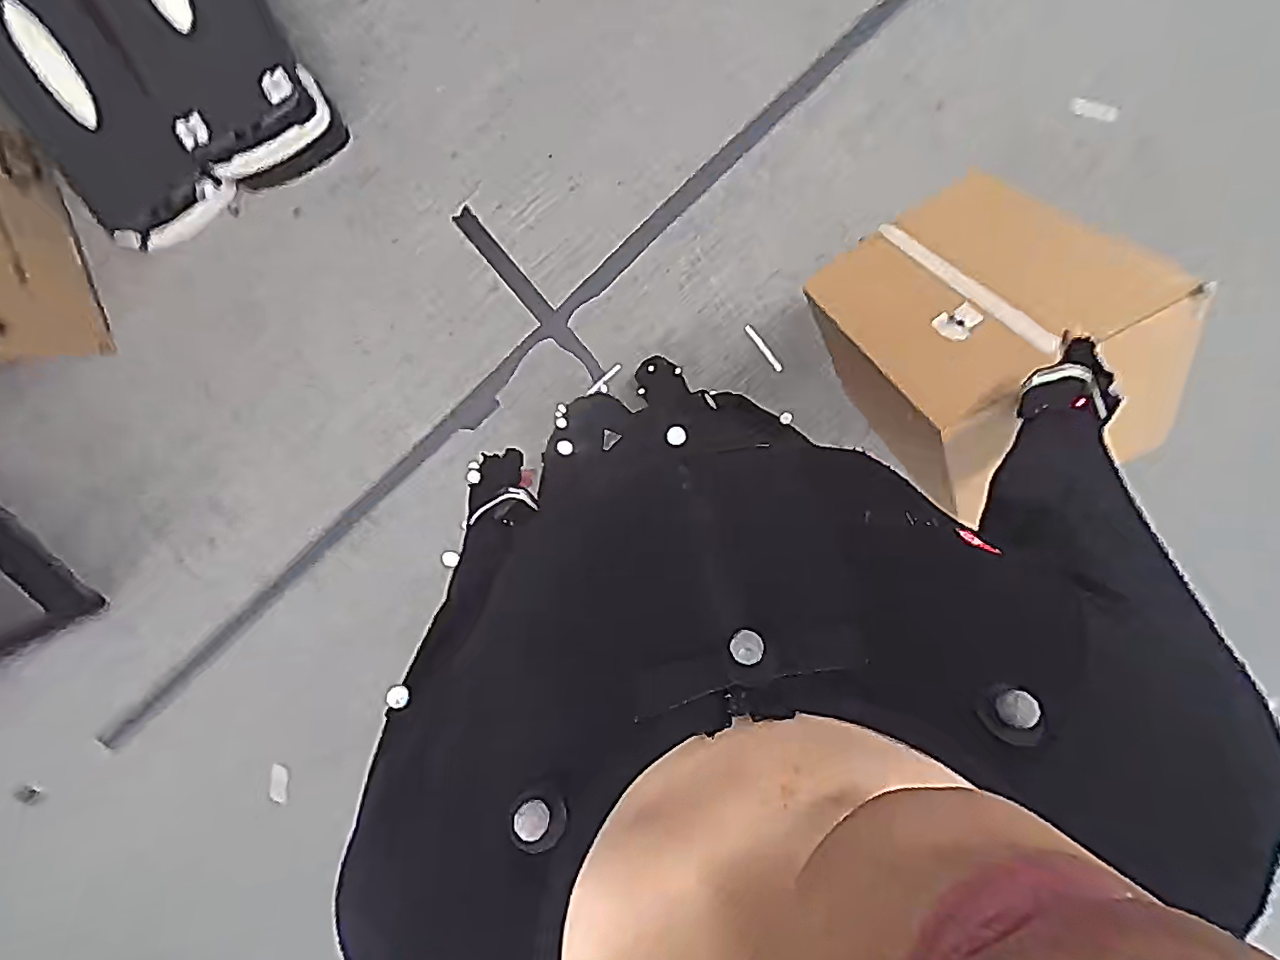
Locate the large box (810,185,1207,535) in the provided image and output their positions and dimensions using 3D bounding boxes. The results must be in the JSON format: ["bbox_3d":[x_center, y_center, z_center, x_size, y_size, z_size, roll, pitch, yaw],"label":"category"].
[{"bbox_3d":[0.540,-0.191,0.883,0.320,0.408,0.320,-31,137,14],"label":"large box"}]
